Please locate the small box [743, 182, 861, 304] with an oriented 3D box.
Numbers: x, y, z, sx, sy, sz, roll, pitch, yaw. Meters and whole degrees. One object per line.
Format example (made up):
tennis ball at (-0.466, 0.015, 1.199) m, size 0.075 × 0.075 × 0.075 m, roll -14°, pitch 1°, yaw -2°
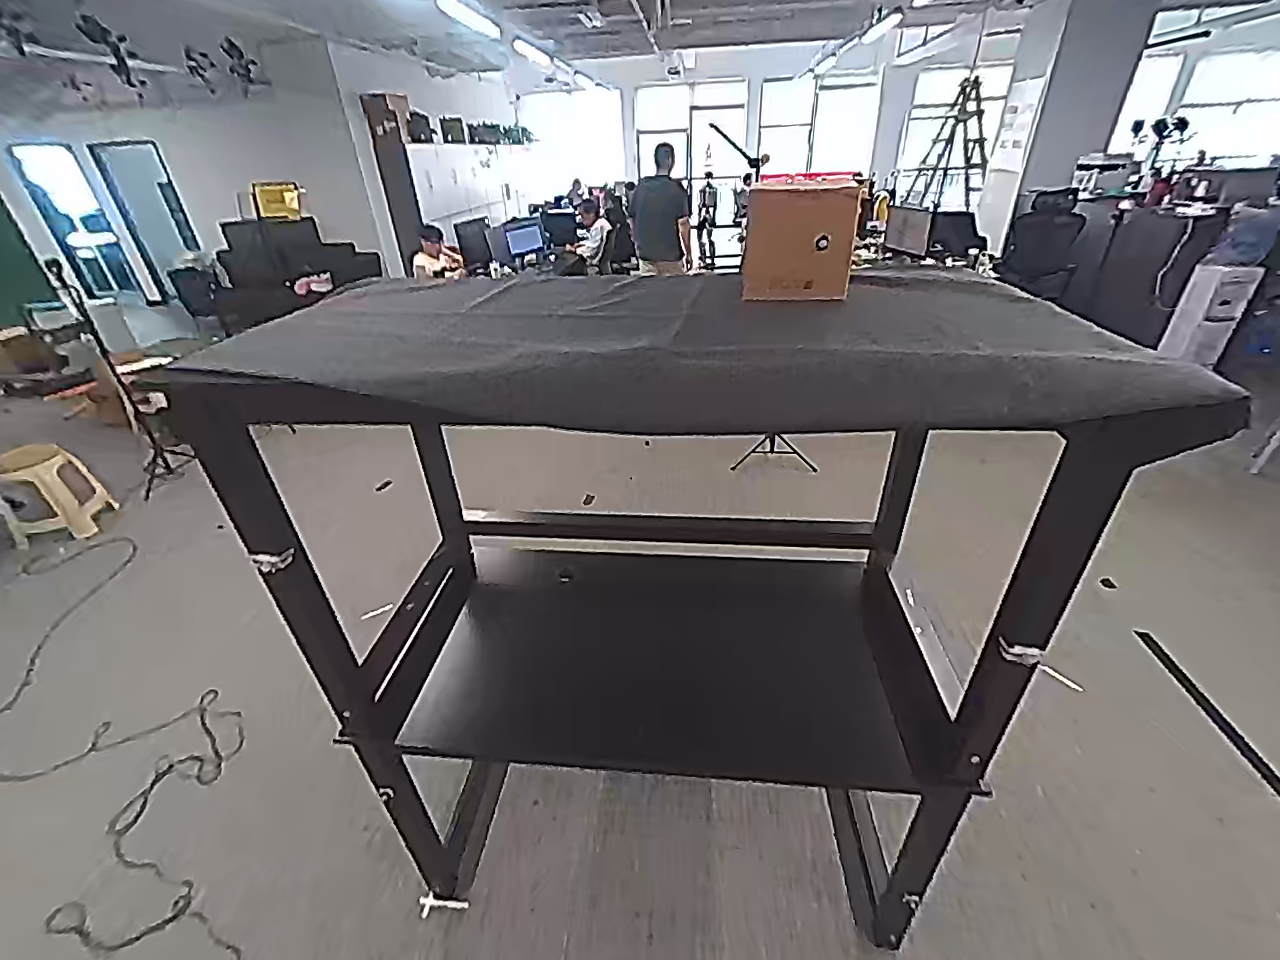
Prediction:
small box at (0.265, -0.401, 0.914) m, size 0.168 × 0.176 × 0.179 m, roll 5°, pitch 32°, yaw 10°
